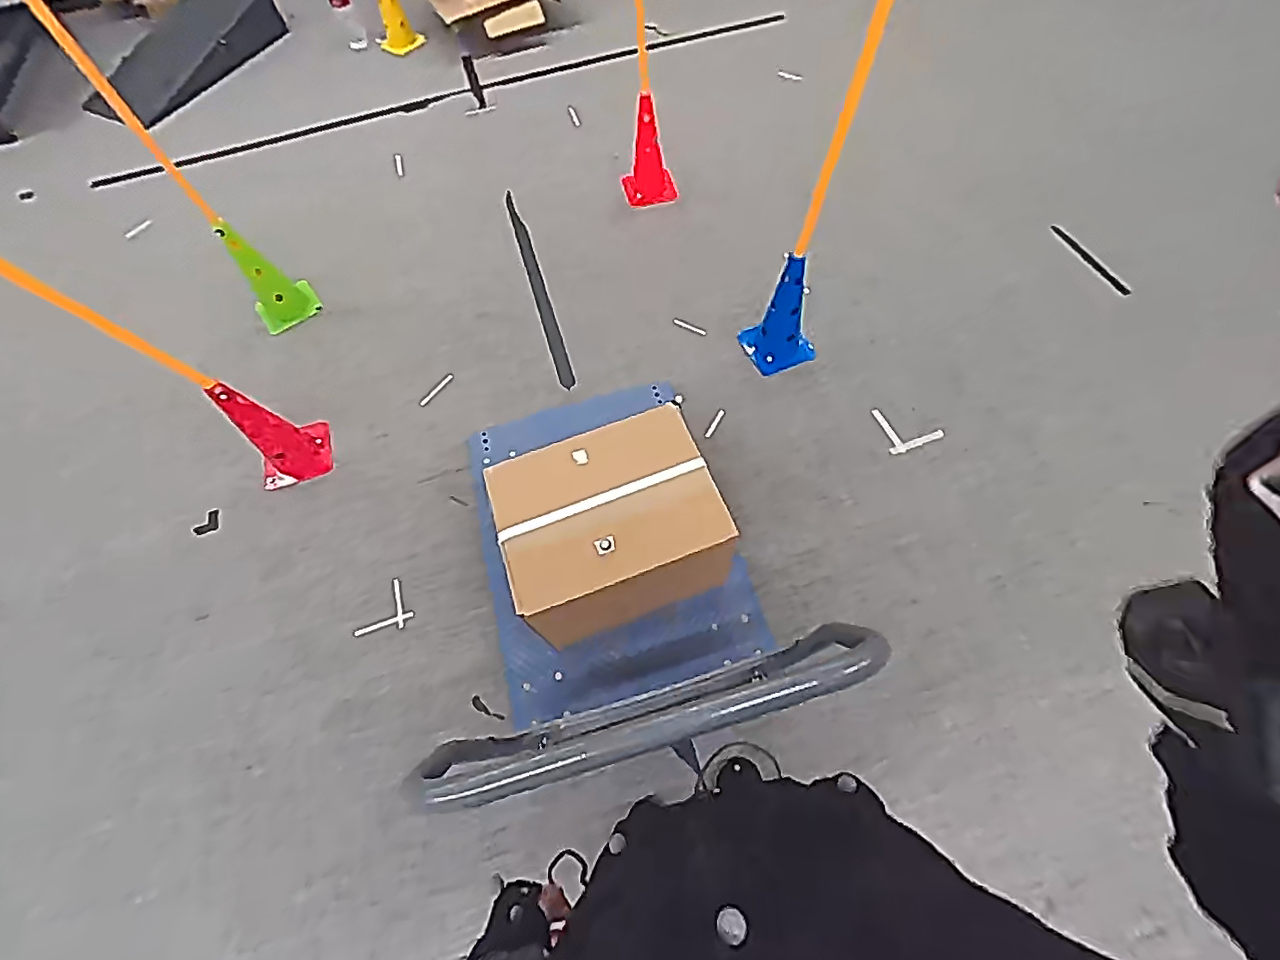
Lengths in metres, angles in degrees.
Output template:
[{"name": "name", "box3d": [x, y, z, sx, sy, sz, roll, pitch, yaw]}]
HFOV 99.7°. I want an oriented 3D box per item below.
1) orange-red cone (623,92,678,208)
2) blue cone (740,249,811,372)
[{"name": "orange-red cone", "box3d": [0.032, -1.238, 2.005, 0.199, 0.360, 0.198, -11, 63, -3]}, {"name": "blue cone", "box3d": [0.433, -0.517, 1.619, 0.193, 0.380, 0.192, -21, 62, -8]}]
